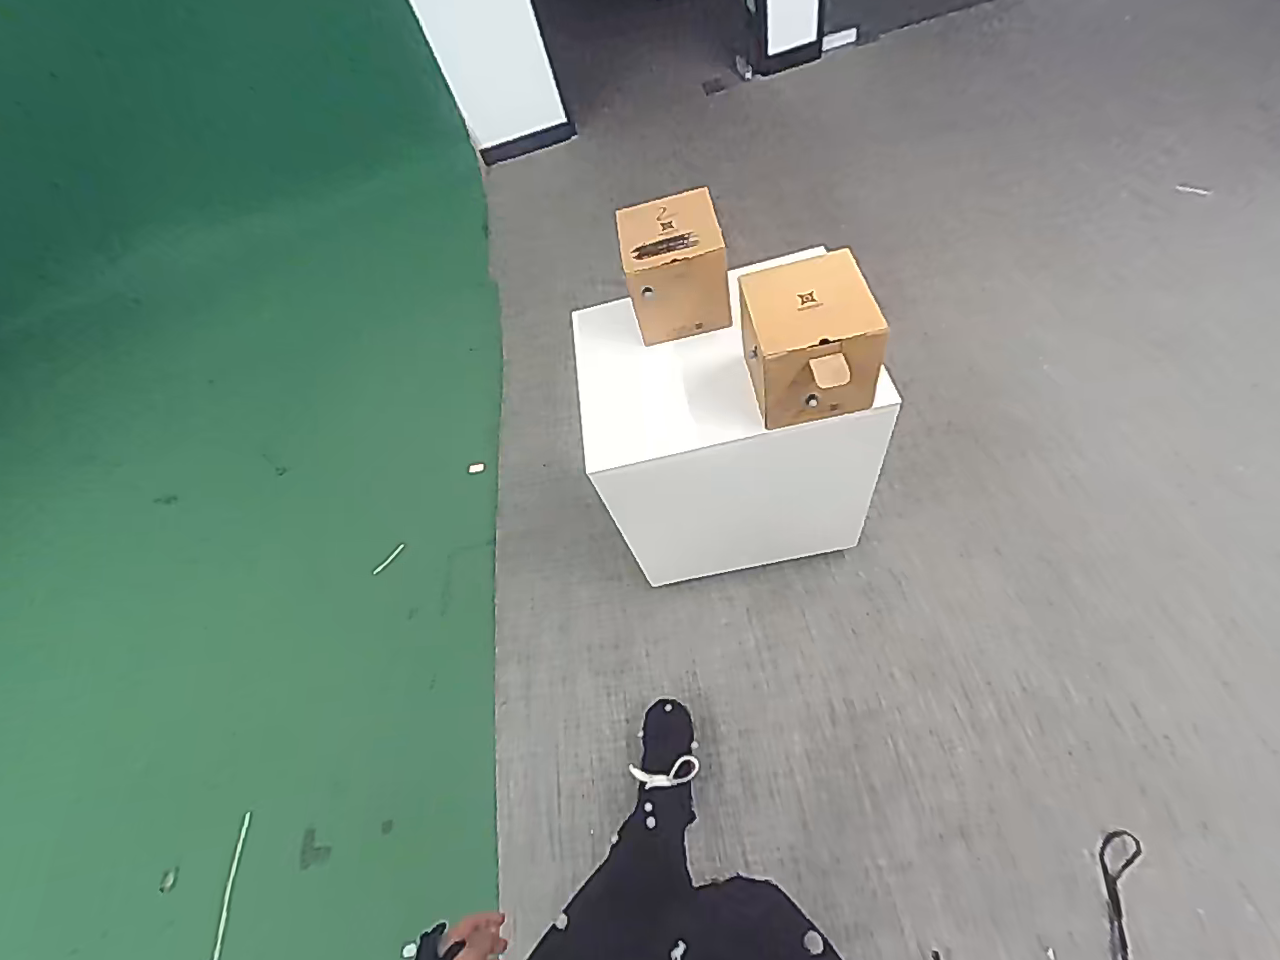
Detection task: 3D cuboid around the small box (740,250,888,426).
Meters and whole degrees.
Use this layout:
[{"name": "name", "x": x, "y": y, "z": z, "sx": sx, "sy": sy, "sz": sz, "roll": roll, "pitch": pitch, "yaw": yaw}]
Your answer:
[{"name": "small box", "x": 0.250, "y": -0.209, "z": 0.819, "sx": 0.168, "sy": 0.176, "sz": 0.179, "roll": -12, "pitch": 57, "yaw": 7}]
